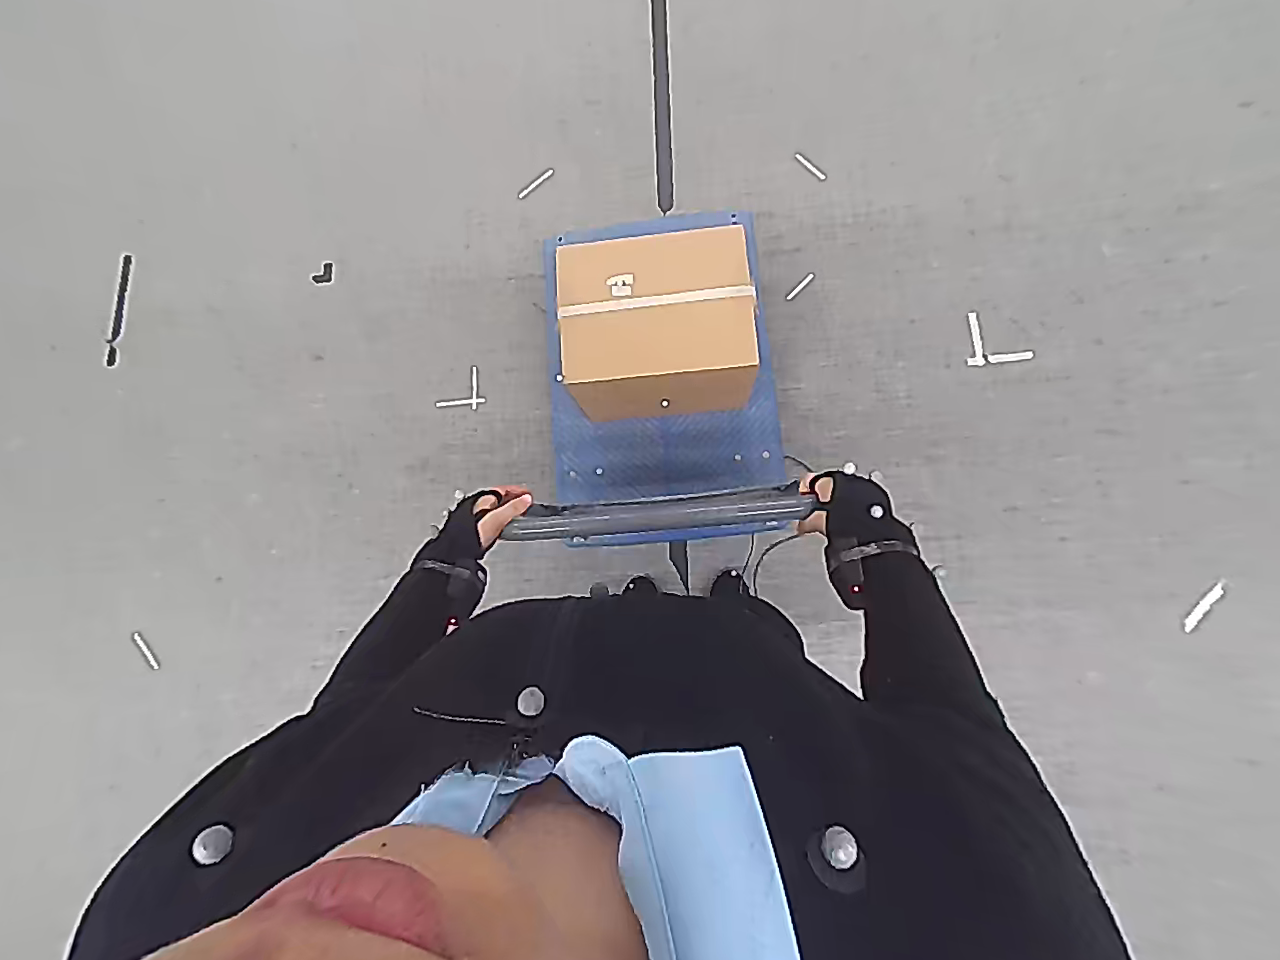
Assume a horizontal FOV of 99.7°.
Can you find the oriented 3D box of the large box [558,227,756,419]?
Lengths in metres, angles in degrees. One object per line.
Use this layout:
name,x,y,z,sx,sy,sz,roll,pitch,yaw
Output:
large box,0.047,-0.347,1.289,0.408,0.320,0.320,-5,79,6
